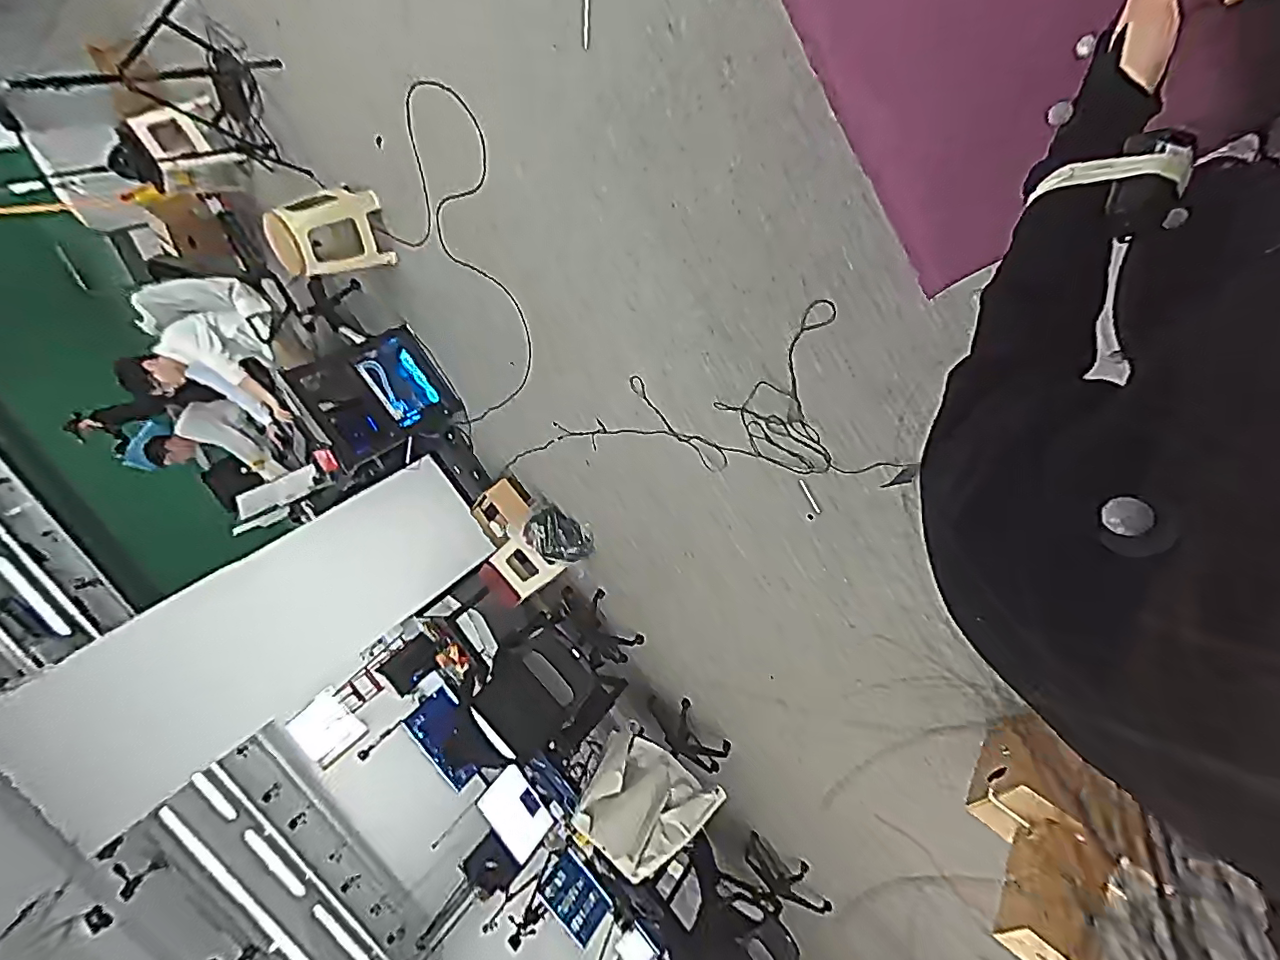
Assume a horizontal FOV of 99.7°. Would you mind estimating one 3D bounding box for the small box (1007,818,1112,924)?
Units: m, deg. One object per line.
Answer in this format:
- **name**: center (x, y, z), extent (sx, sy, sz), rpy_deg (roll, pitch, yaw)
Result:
- **small box**: center (1.220, 1.131, 1.569), extent (0.179, 0.176, 0.168), rpy_deg (34, 140, 24)
